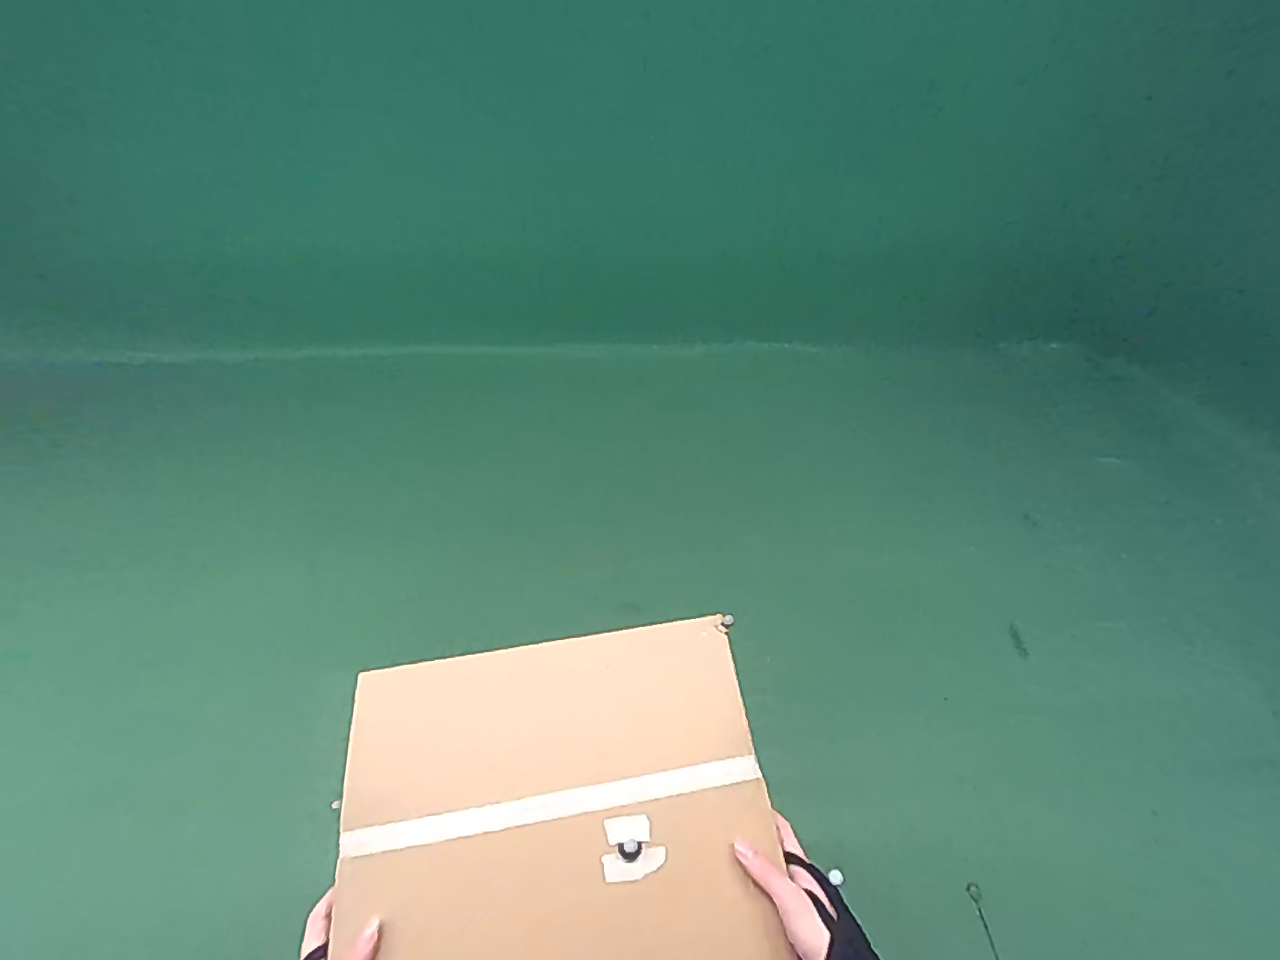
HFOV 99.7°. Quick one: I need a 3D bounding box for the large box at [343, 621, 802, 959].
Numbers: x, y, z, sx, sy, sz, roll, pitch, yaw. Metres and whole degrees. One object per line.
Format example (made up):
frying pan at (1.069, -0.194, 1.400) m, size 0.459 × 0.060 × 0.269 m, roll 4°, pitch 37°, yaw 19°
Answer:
large box at (-0.079, 0.400, 0.655) m, size 0.408 × 0.320 × 0.320 m, roll -8°, pitch 59°, yaw -6°
